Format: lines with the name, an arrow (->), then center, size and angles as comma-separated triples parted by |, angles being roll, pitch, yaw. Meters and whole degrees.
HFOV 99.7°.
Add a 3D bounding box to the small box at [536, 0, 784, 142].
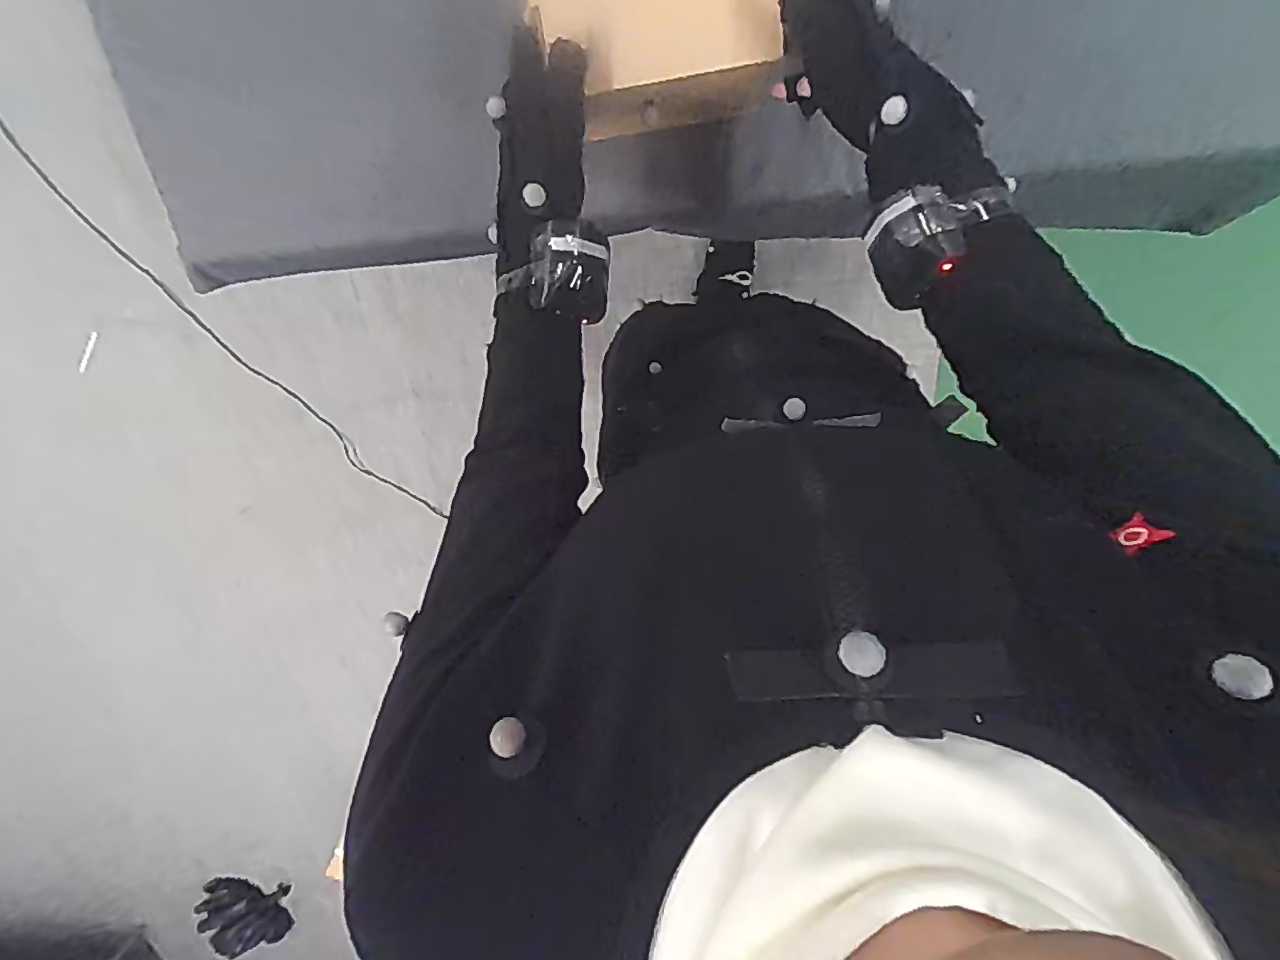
small box -> 0.013, -0.406, 0.449 | 0.179, 0.176, 0.168 | -9, 109, 8
